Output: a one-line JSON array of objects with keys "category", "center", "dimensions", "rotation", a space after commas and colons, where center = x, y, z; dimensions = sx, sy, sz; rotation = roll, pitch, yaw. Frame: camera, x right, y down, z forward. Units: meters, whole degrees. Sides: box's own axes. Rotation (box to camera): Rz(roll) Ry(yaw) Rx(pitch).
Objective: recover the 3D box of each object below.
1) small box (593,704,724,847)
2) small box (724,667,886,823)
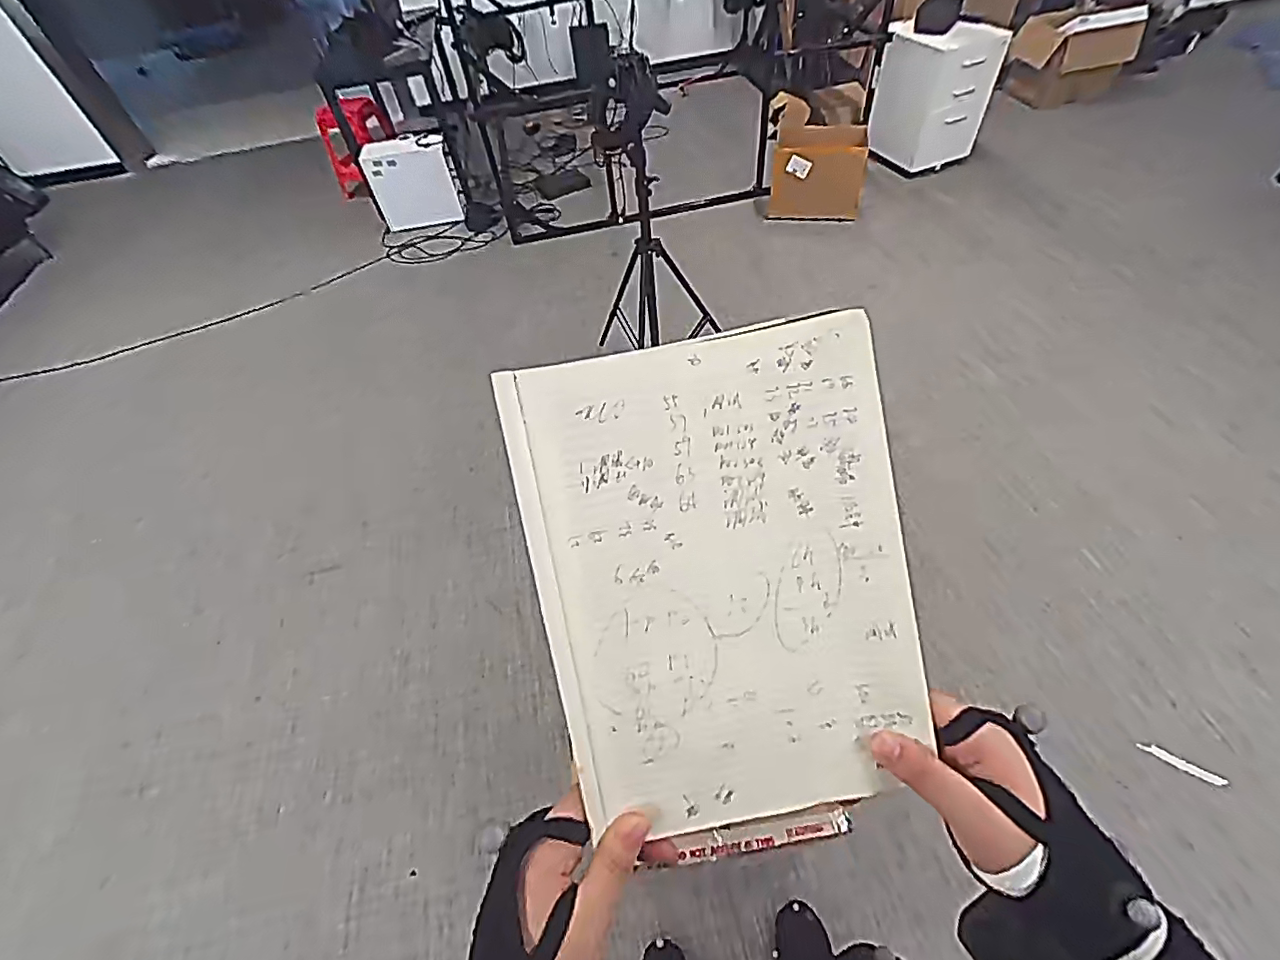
[{"category": "small box", "center": [0.028, 0.456, 0.829], "dimensions": [0.179, 0.176, 0.168], "rotation": [-8, 53, 3]}, {"category": "small box", "center": [0.240, 0.413, 0.840], "dimensions": [0.179, 0.176, 0.168], "rotation": [-13, 53, -5]}]
